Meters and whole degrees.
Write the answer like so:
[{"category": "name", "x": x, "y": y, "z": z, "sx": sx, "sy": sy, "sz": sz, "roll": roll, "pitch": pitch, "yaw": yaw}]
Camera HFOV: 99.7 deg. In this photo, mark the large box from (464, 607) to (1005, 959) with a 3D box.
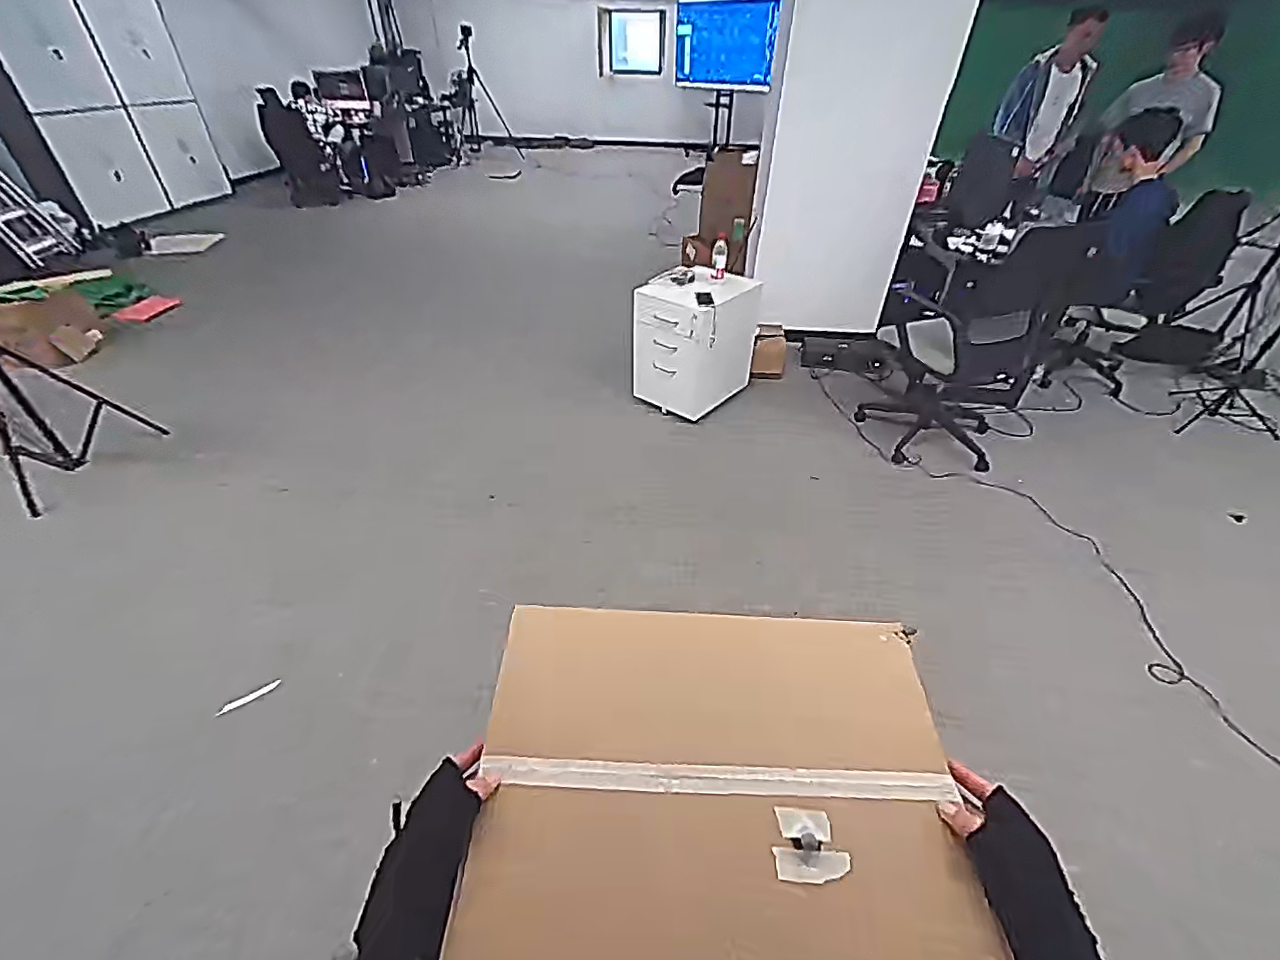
[{"category": "large box", "x": 0.065, "y": 0.357, "z": 0.585, "sx": 0.408, "sy": 0.320, "sz": 0.320, "roll": 3, "pitch": 48, "yaw": -1}]
